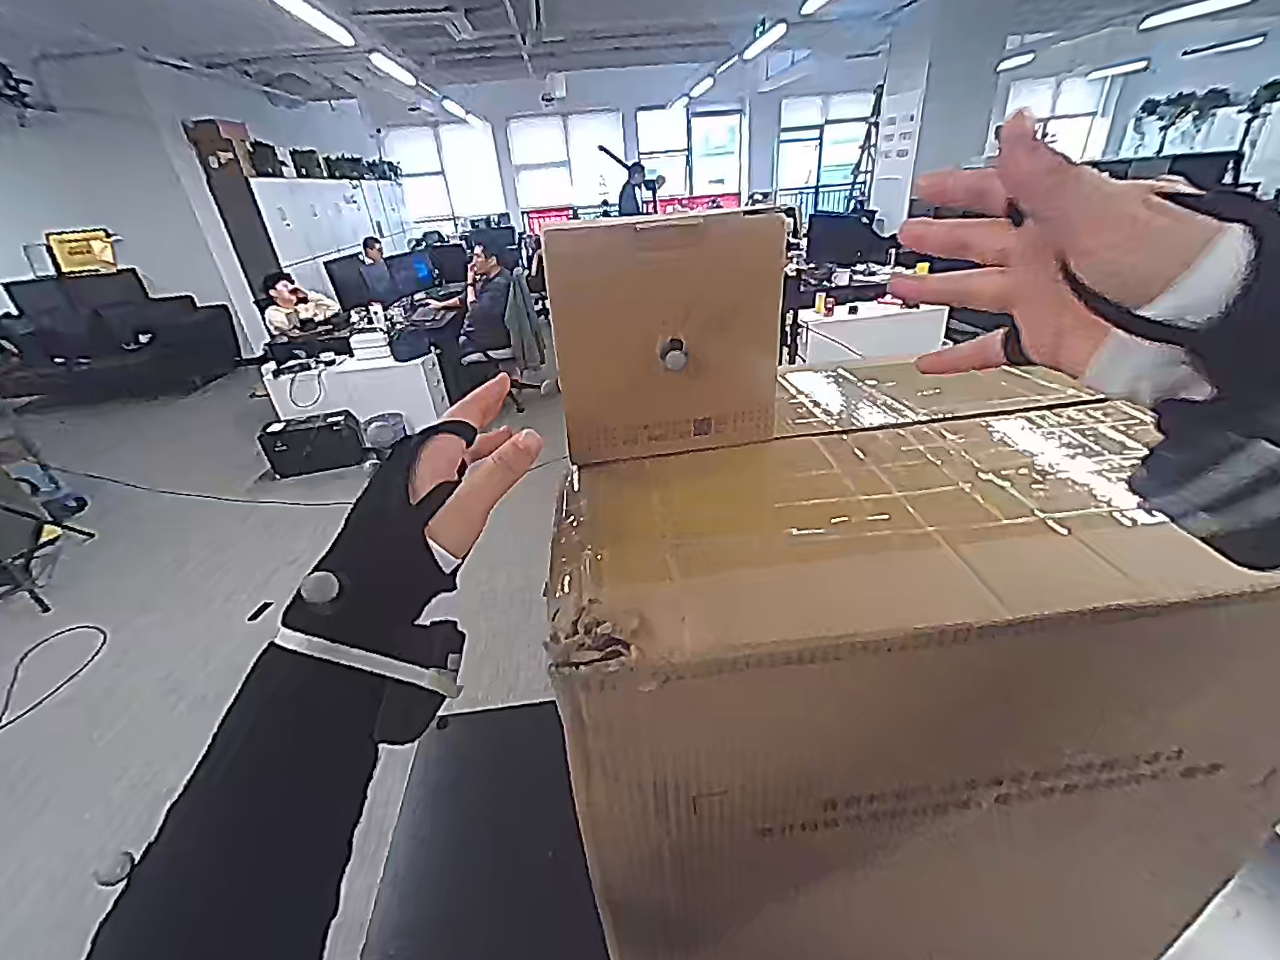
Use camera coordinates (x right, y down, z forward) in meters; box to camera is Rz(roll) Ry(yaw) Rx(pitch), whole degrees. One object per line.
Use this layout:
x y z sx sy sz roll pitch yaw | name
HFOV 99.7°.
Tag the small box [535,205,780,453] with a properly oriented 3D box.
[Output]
0.007 -0.129 0.456 0.168 0.176 0.179 -8 28 -7 | small box
